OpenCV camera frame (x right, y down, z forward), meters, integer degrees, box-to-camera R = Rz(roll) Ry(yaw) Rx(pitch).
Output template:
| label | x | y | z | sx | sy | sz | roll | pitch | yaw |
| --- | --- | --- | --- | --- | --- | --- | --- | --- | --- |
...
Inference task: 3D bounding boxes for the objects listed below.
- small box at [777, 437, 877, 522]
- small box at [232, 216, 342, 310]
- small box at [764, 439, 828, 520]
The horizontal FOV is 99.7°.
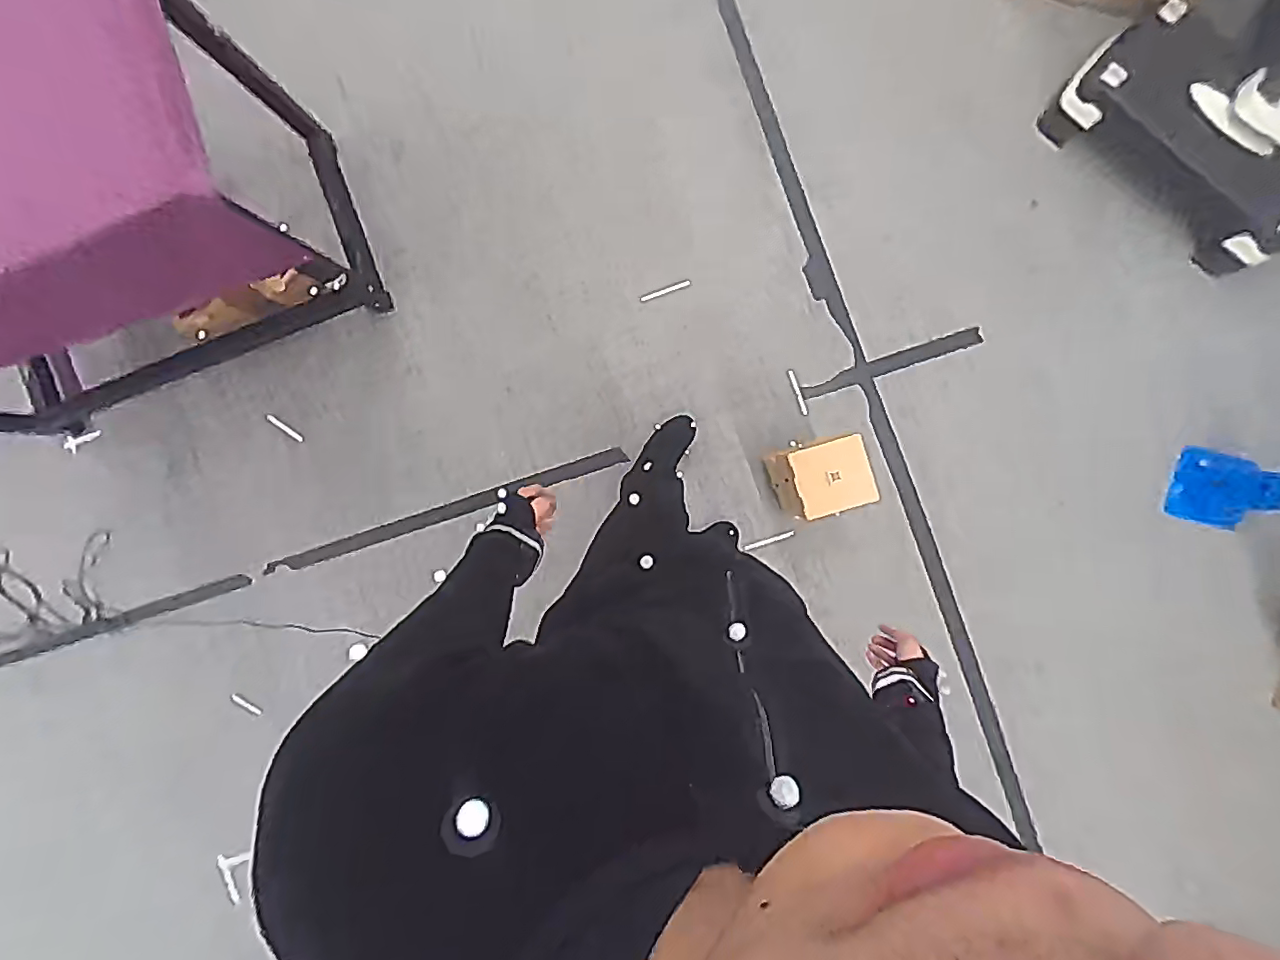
| label | x | y | z | sx | sy | sz | roll | pitch | yaw |
| --- | --- | --- | --- | --- | --- | --- | --- | --- | --- |
| small box | 0.458 | -0.006 | 1.348 | 0.179 | 0.176 | 0.168 | -16 | 91 | 6 |
| small box | -1.049 | -0.638 | 1.618 | 0.179 | 0.176 | 0.168 | 42 | 95 | 3 |
| small box | 0.461 | -0.005 | 1.511 | 0.168 | 0.176 | 0.179 | -21 | 90 | 5 |
